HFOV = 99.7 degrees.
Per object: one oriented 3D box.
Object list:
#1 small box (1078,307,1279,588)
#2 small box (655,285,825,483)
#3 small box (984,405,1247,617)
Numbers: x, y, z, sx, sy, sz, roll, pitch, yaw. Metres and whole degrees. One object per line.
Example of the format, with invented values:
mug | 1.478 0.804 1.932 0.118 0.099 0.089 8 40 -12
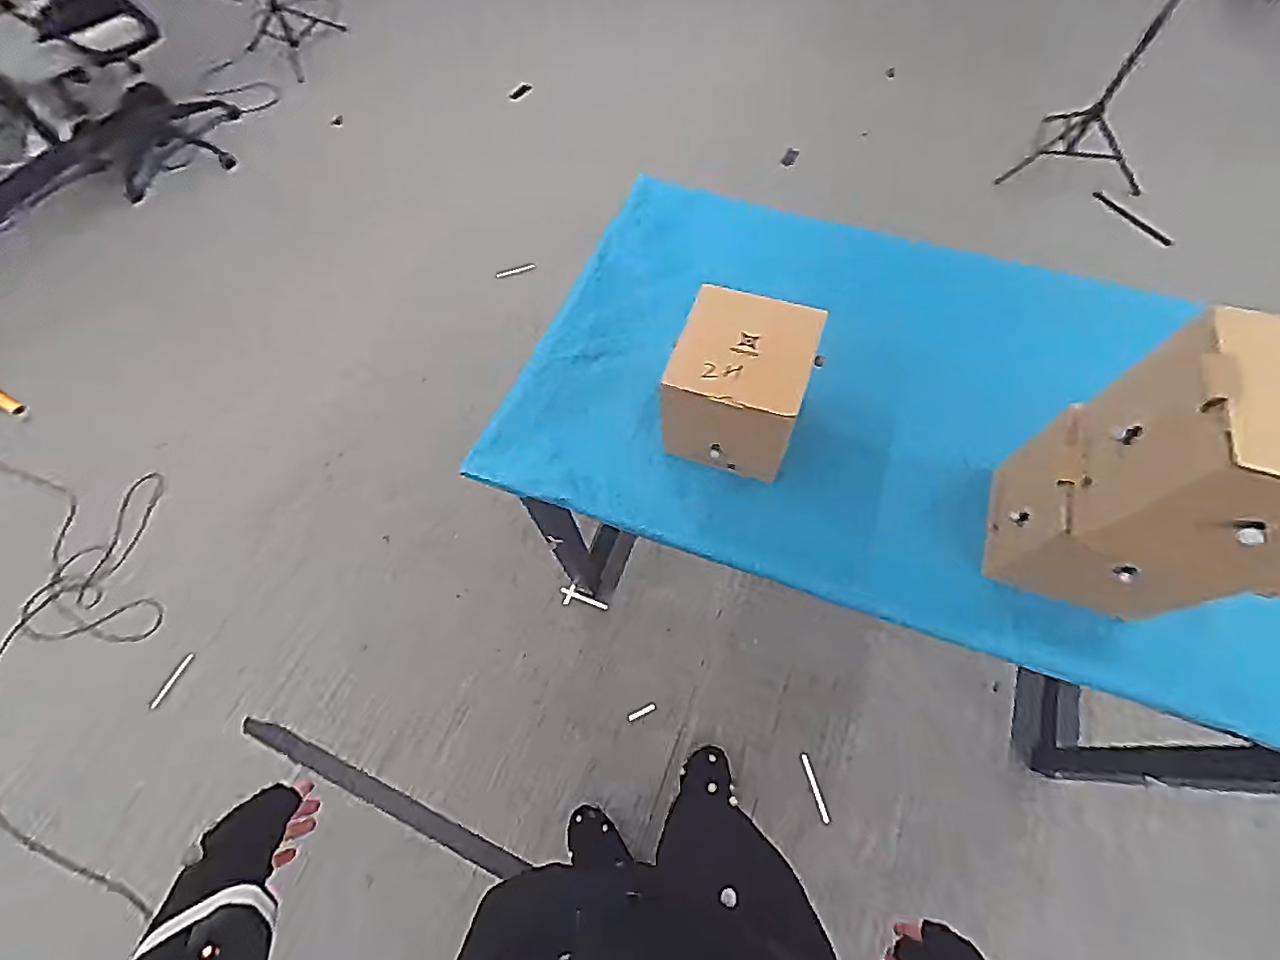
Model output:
small box | 0.528 -0.019 0.475 0.179 0.176 0.168 15 66 10
small box | 0.130 -0.124 0.735 0.168 0.176 0.179 20 69 14
small box | 0.533 0.044 0.625 0.179 0.176 0.168 18 67 12
